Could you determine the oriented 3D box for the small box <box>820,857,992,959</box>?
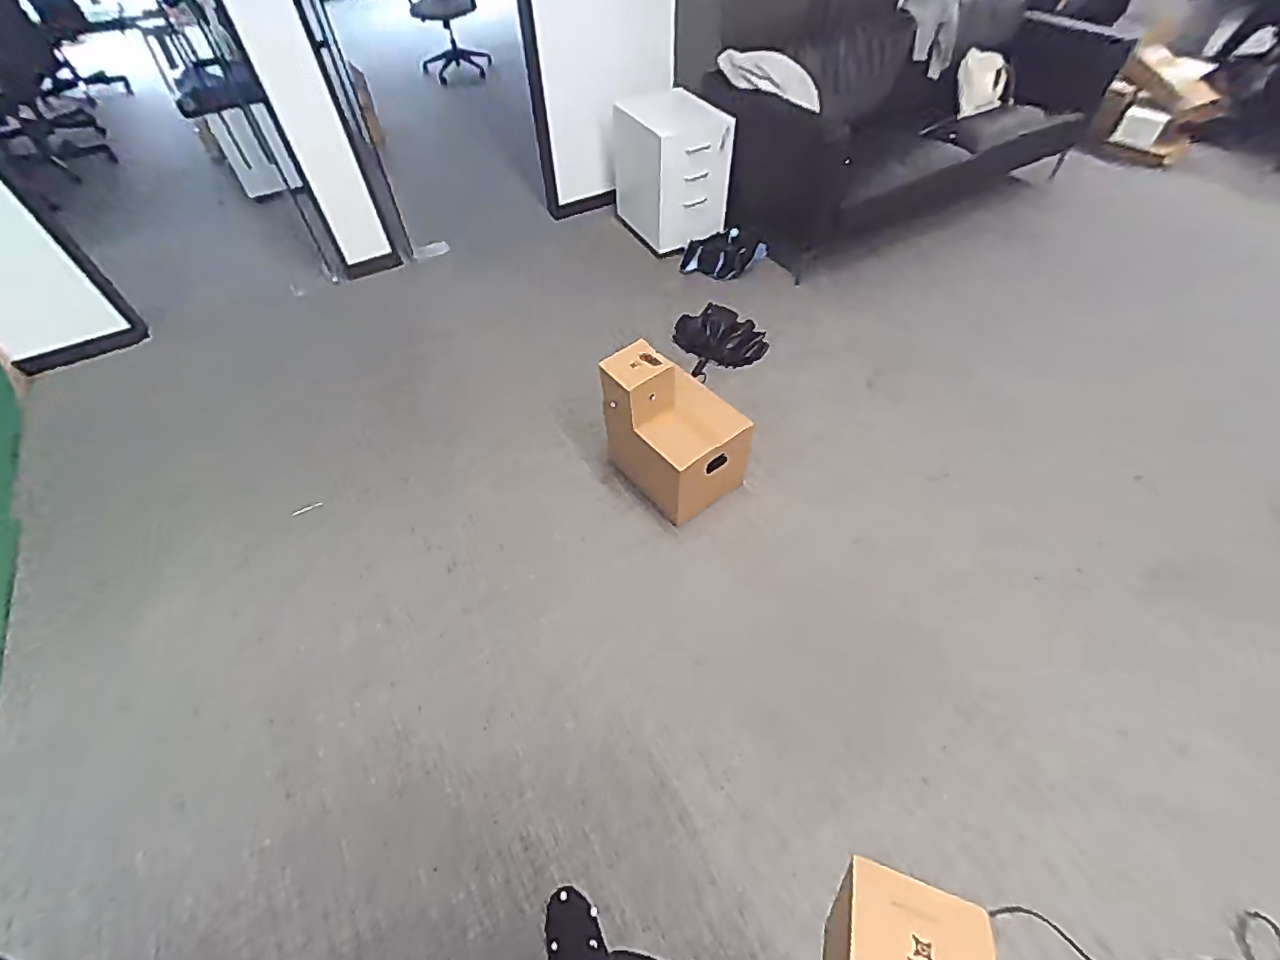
[{"bbox_3d":[0.320,0.629,0.663,0.168,0.176,0.179,14,23,16],"label":"small box"}]

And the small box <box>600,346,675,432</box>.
[{"bbox_3d":[-0.005,-0.286,1.718,0.179,0.176,0.168,-33,57,-18],"label":"small box"}]
